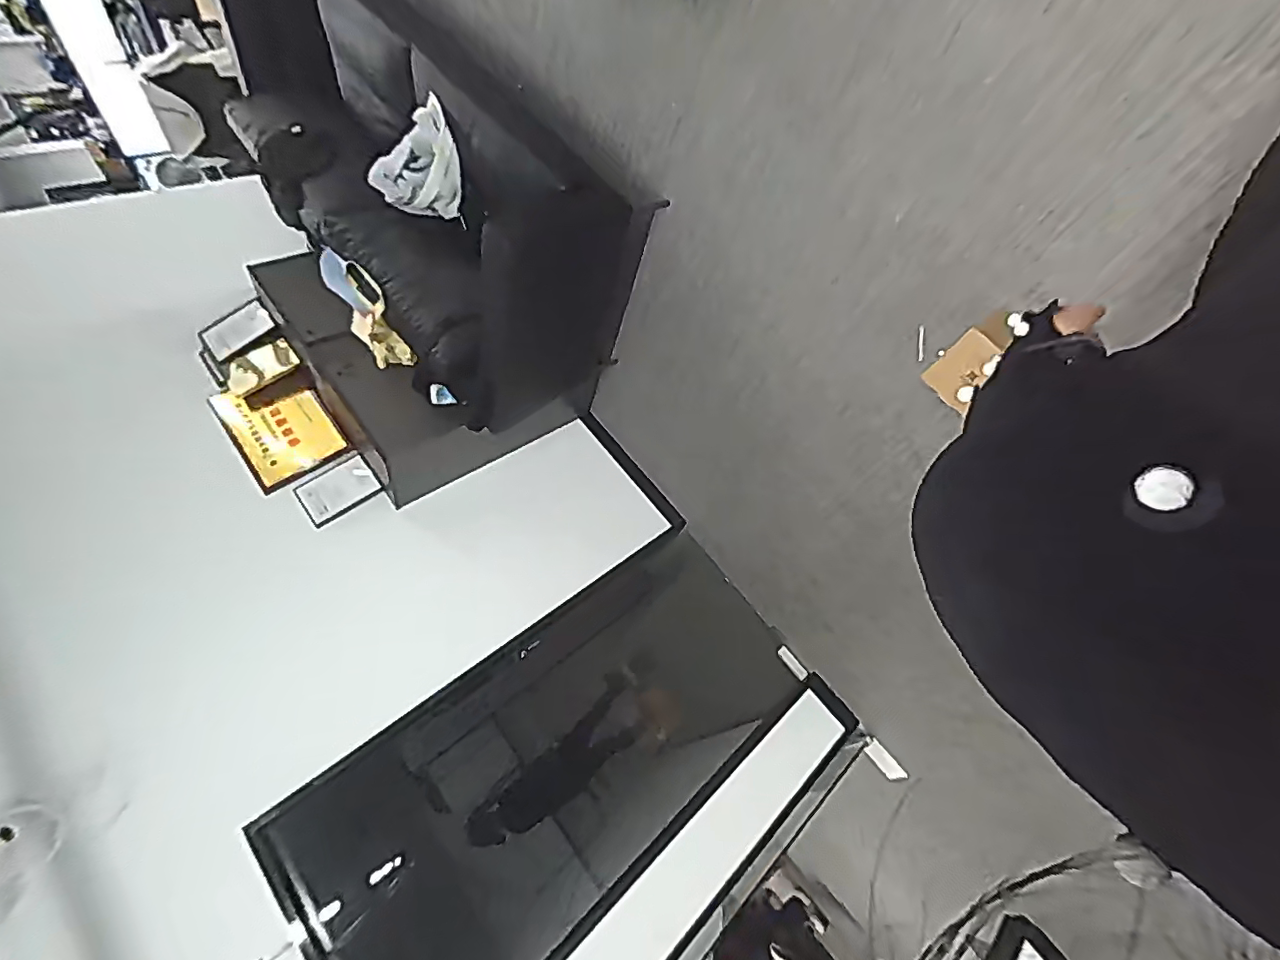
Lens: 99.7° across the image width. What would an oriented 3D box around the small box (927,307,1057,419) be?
[{"bbox_3d":[0.846,-0.282,1.300,0.168,0.176,0.179,49,147,14],"label":"small box"}]
